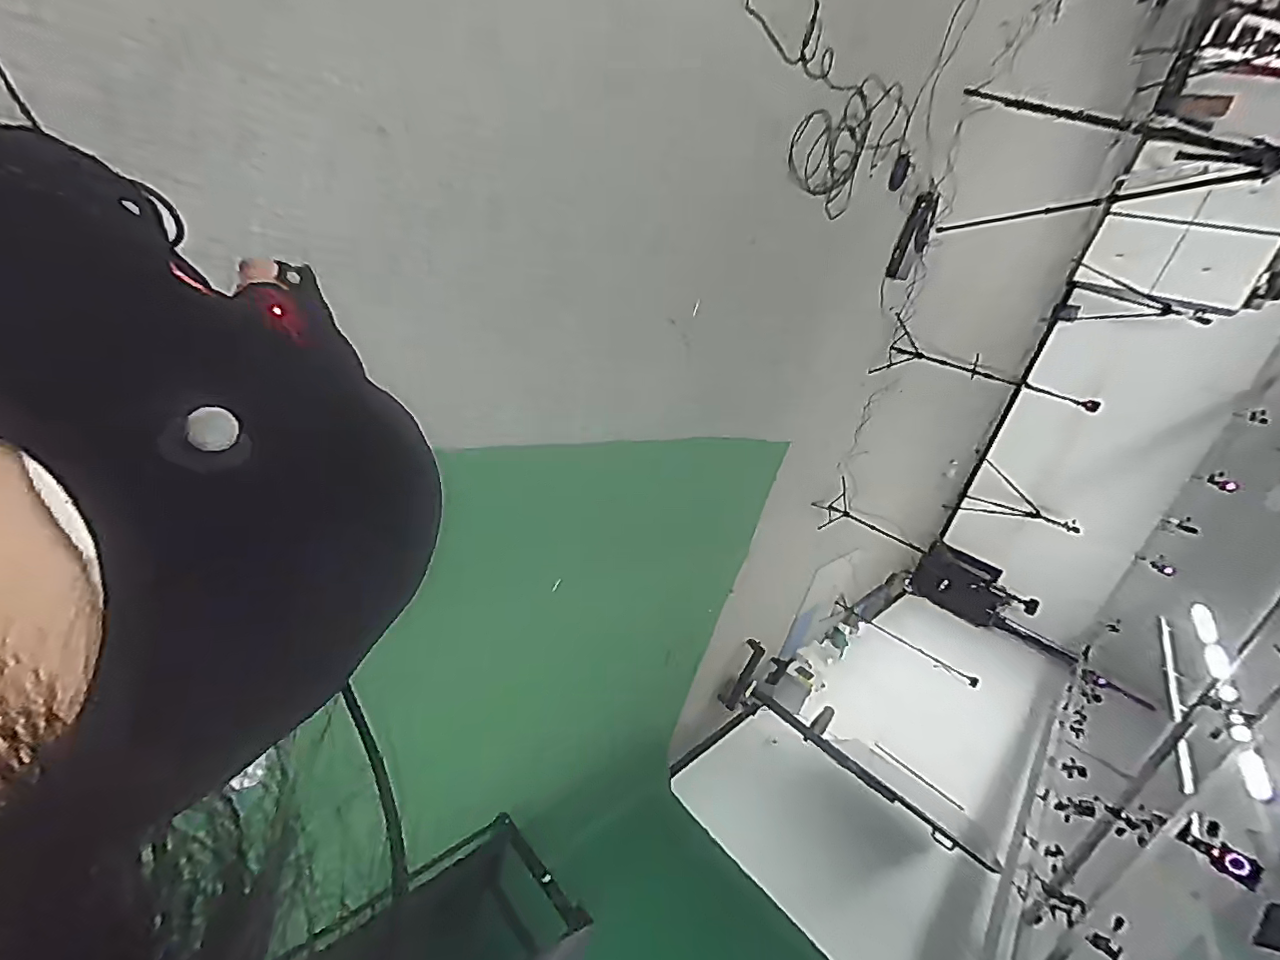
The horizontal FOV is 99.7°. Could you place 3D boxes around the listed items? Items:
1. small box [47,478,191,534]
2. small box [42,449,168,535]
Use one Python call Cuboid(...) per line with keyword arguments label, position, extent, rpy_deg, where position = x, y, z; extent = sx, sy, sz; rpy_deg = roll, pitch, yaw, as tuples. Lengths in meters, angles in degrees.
Cuboid(label="small box", position=(-0.949, 0.103, 0.985), extent=(0.179, 0.176, 0.168), rpy_deg=(-2, 116, -47))
Cuboid(label="small box", position=(-1.068, 0.044, 1.082), extent=(0.168, 0.176, 0.179), rpy_deg=(-4, 117, -48))
